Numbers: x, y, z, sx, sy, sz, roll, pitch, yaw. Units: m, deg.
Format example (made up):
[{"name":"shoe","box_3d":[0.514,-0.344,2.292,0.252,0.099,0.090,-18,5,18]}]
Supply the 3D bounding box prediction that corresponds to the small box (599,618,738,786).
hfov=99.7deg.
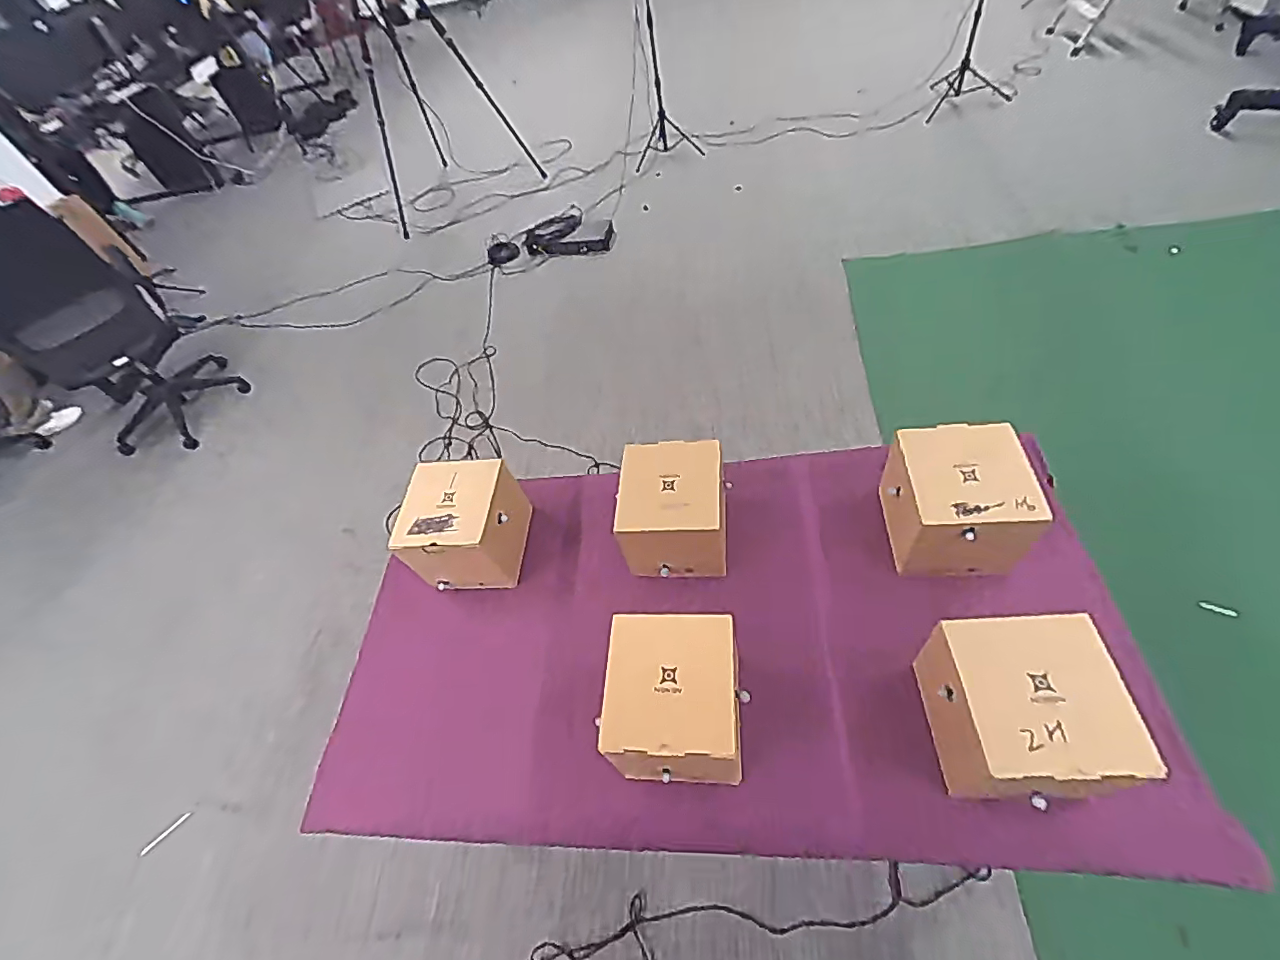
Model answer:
[{"name":"small box","box_3d":[0.048,0.306,0.745,0.168,0.176,0.179,-2,54,9]}]

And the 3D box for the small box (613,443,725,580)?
[{"name":"small box","box_3d":[0.058,0.055,0.923,0.168,0.176,0.179,-1,56,11]}]

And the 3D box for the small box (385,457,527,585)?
[{"name":"small box","box_3d":[-0.316,0.080,0.971,0.168,0.176,0.179,-2,55,9]}]

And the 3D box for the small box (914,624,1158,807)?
[{"name":"small box","box_3d":[0.461,0.293,0.670,0.168,0.176,0.179,-5,54,10]}]

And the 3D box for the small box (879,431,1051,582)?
[{"name":"small box","box_3d":[0.487,0.044,0.846,0.168,0.176,0.179,-3,54,10]}]
